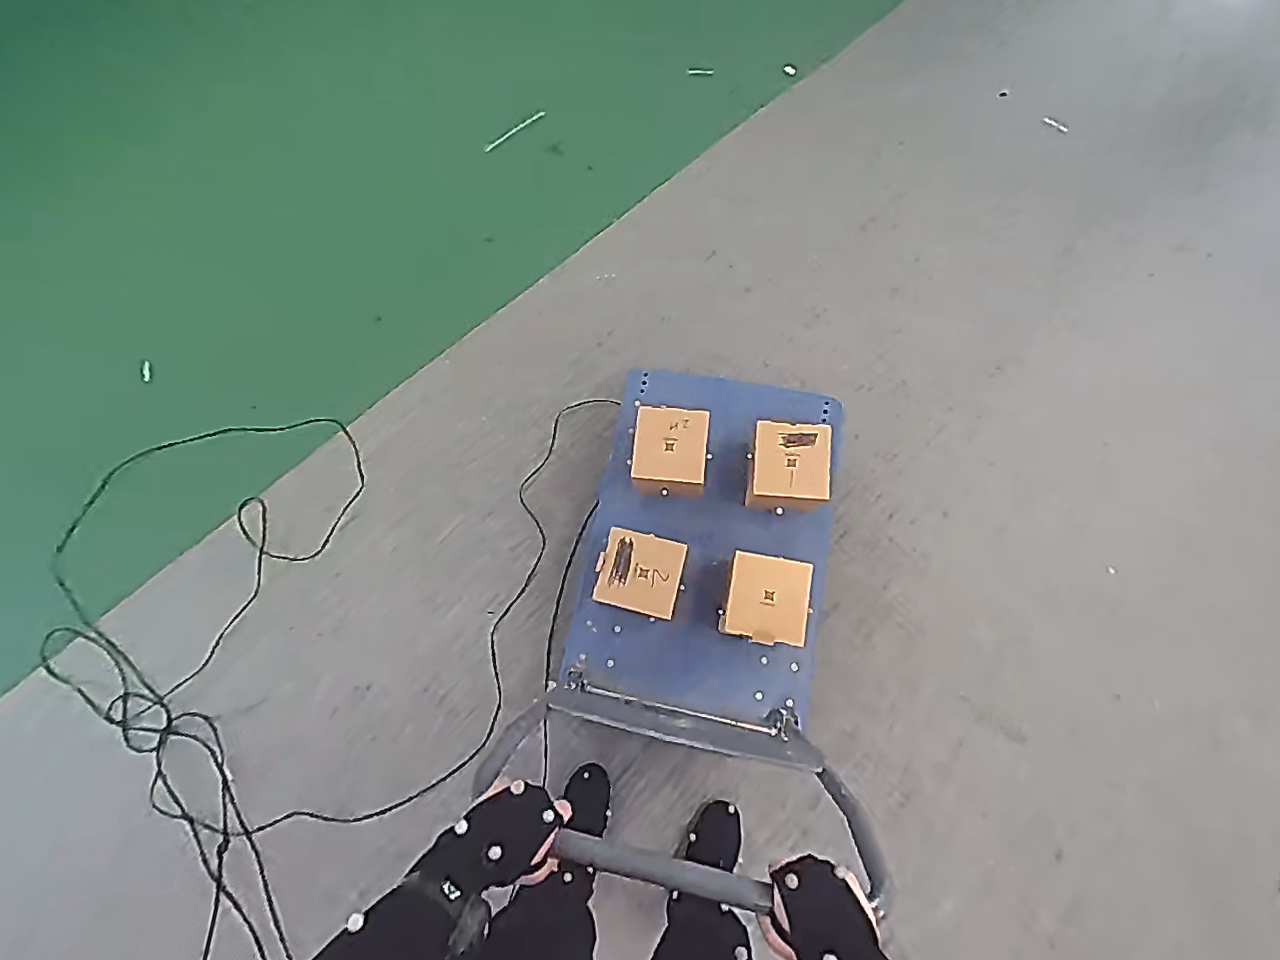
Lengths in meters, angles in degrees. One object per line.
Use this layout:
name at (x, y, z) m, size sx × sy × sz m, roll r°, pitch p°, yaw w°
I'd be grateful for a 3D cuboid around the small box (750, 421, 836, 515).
small box at (0.353, -0.023, 1.272) m, size 0.168 × 0.176 × 0.179 m, roll 5°, pitch 77°, yaw 6°

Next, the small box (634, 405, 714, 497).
small box at (0.084, -0.062, 1.302) m, size 0.168 × 0.176 × 0.179 m, roll 6°, pitch 76°, yaw 5°

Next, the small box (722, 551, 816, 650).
small box at (0.281, 0.268, 1.206) m, size 0.168 × 0.176 × 0.179 m, roll 10°, pitch 78°, yaw 7°
